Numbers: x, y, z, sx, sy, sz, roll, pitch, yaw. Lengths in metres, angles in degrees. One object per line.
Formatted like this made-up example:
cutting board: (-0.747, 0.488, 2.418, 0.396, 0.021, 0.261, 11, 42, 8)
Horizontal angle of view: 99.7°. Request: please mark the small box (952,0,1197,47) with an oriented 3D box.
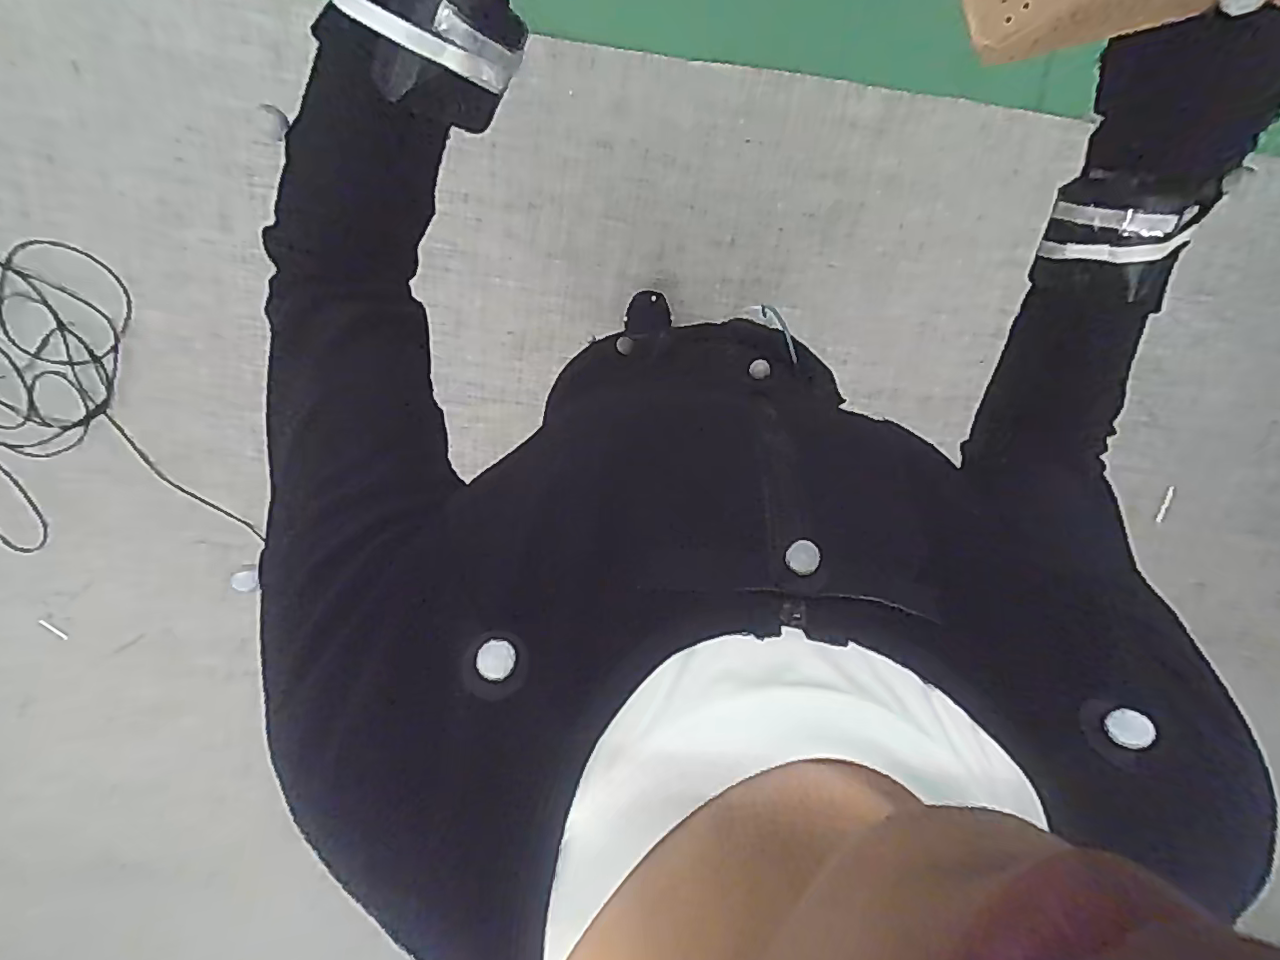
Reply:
small box: (0.197, -0.260, 0.137, 0.179, 0.176, 0.168, -25, 101, -18)
